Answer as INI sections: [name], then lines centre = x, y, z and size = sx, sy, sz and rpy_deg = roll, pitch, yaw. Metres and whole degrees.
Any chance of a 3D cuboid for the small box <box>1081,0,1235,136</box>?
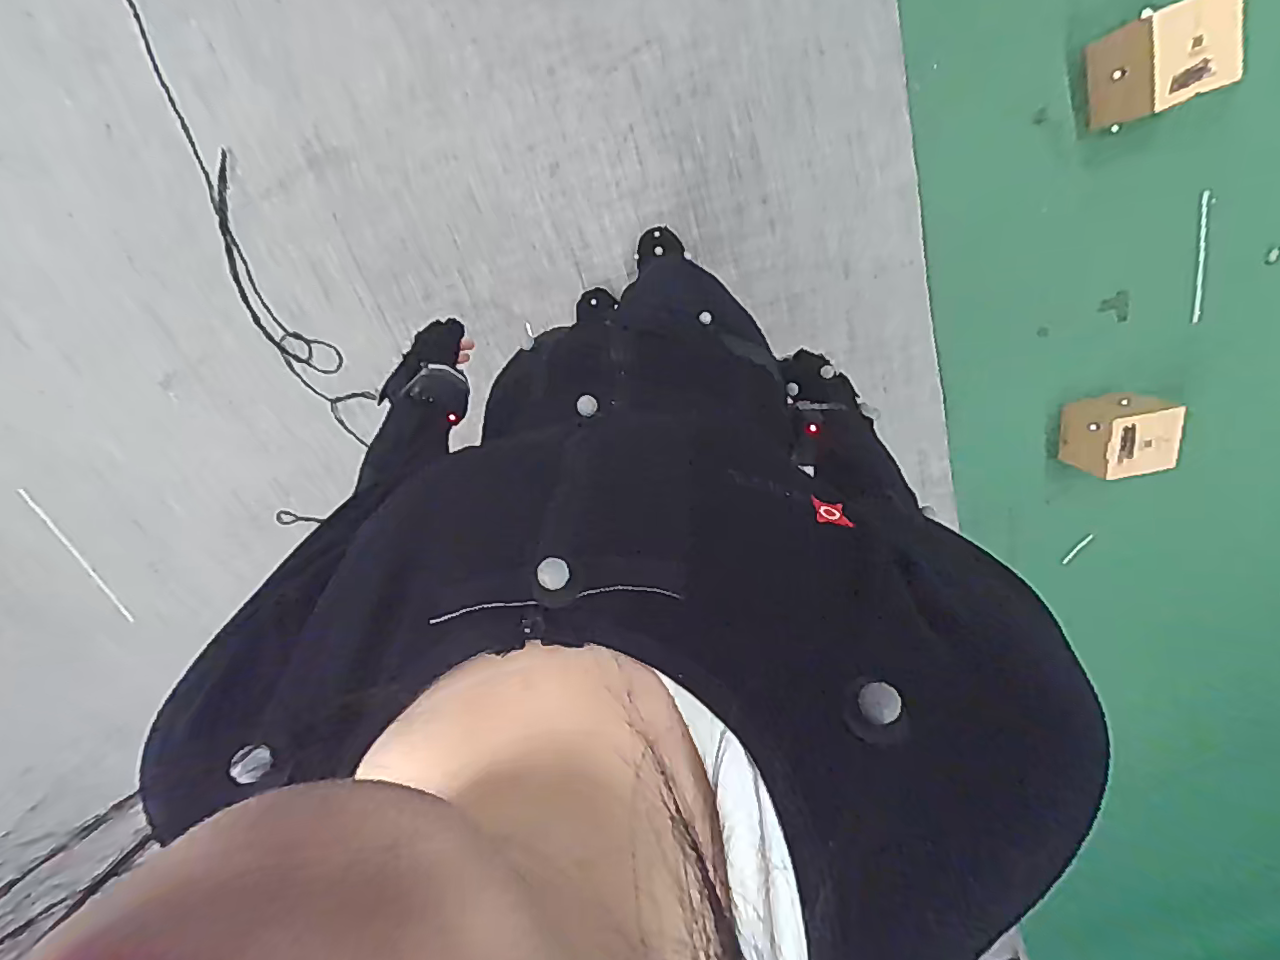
[small box]
centre = 1.069, -0.848, 1.129
size = 0.168, 0.176, 0.179
rpy_deg = -19, 109, 6
